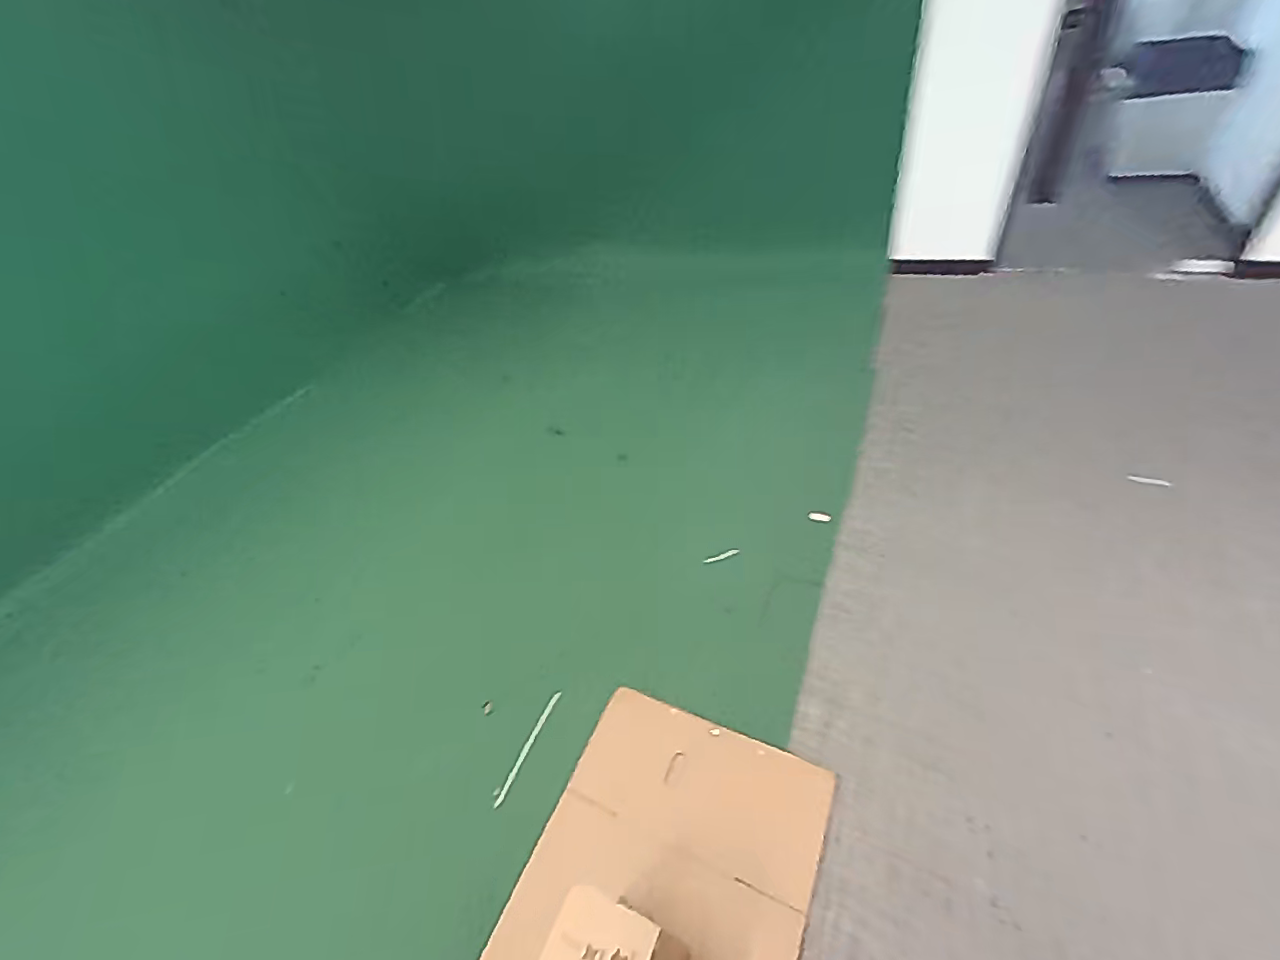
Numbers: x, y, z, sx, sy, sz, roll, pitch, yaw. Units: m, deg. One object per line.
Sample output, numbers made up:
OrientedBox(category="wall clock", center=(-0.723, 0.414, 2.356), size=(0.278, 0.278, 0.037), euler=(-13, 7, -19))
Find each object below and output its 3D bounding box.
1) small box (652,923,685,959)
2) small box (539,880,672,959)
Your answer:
OrientedBox(category="small box", center=(-0.028, 0.950, 1.050), size=(0.179, 0.176, 0.168), euler=(11, 51, 24))
OrientedBox(category="small box", center=(-0.059, 0.837, 0.935), size=(0.179, 0.176, 0.168), euler=(12, 50, 26))
